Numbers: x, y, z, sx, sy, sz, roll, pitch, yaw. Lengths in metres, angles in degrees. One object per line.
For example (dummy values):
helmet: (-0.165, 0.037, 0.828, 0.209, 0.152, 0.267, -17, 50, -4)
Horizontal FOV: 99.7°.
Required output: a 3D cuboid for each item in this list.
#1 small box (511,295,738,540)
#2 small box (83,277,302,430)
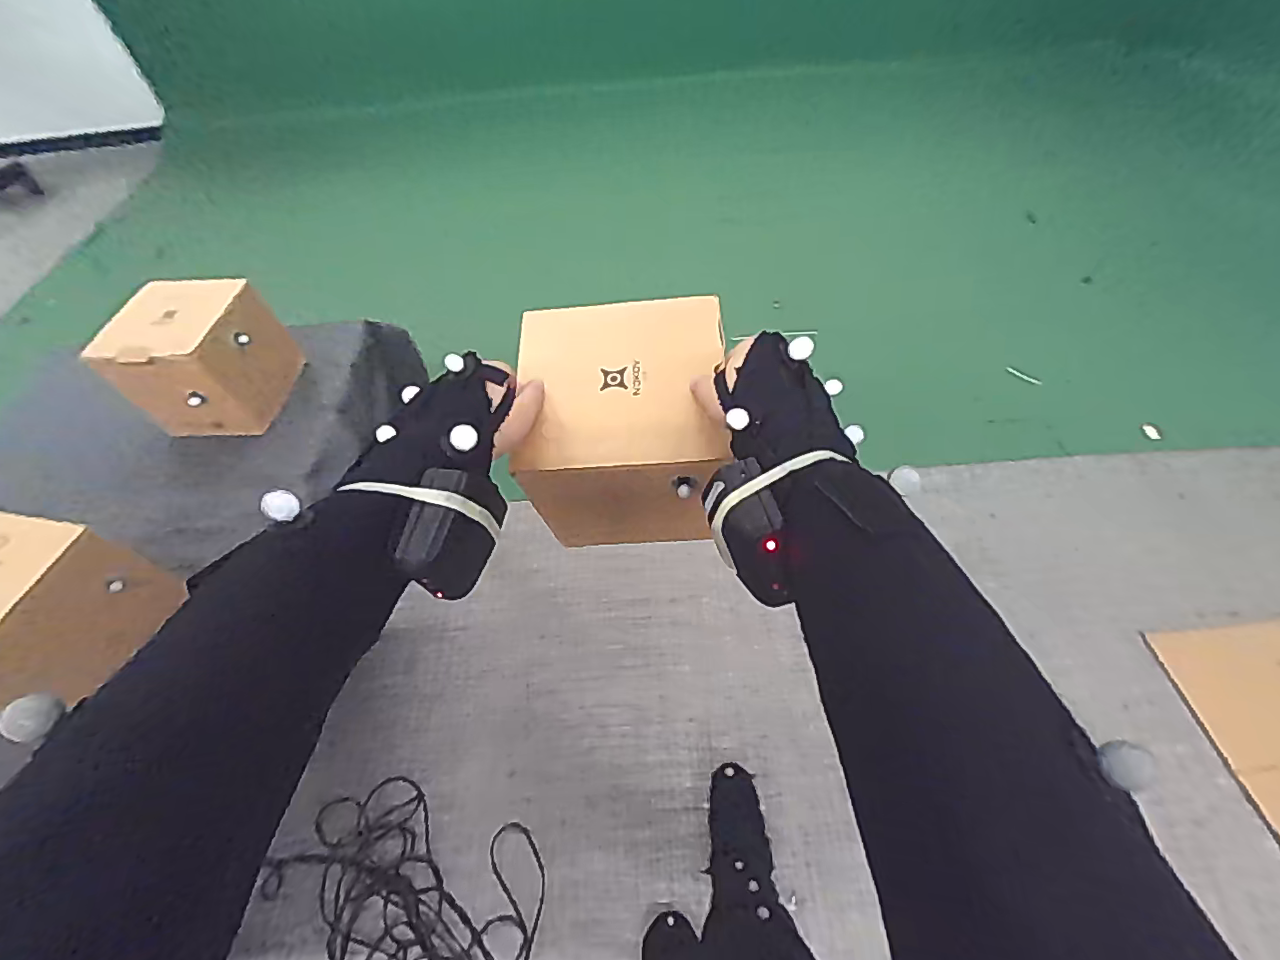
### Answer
small box: (-0.005, -0.048, 0.512, 0.179, 0.176, 0.168, -3, 63, 4)
small box: (-0.676, -0.192, 0.848, 0.168, 0.176, 0.179, 0, 54, 4)
